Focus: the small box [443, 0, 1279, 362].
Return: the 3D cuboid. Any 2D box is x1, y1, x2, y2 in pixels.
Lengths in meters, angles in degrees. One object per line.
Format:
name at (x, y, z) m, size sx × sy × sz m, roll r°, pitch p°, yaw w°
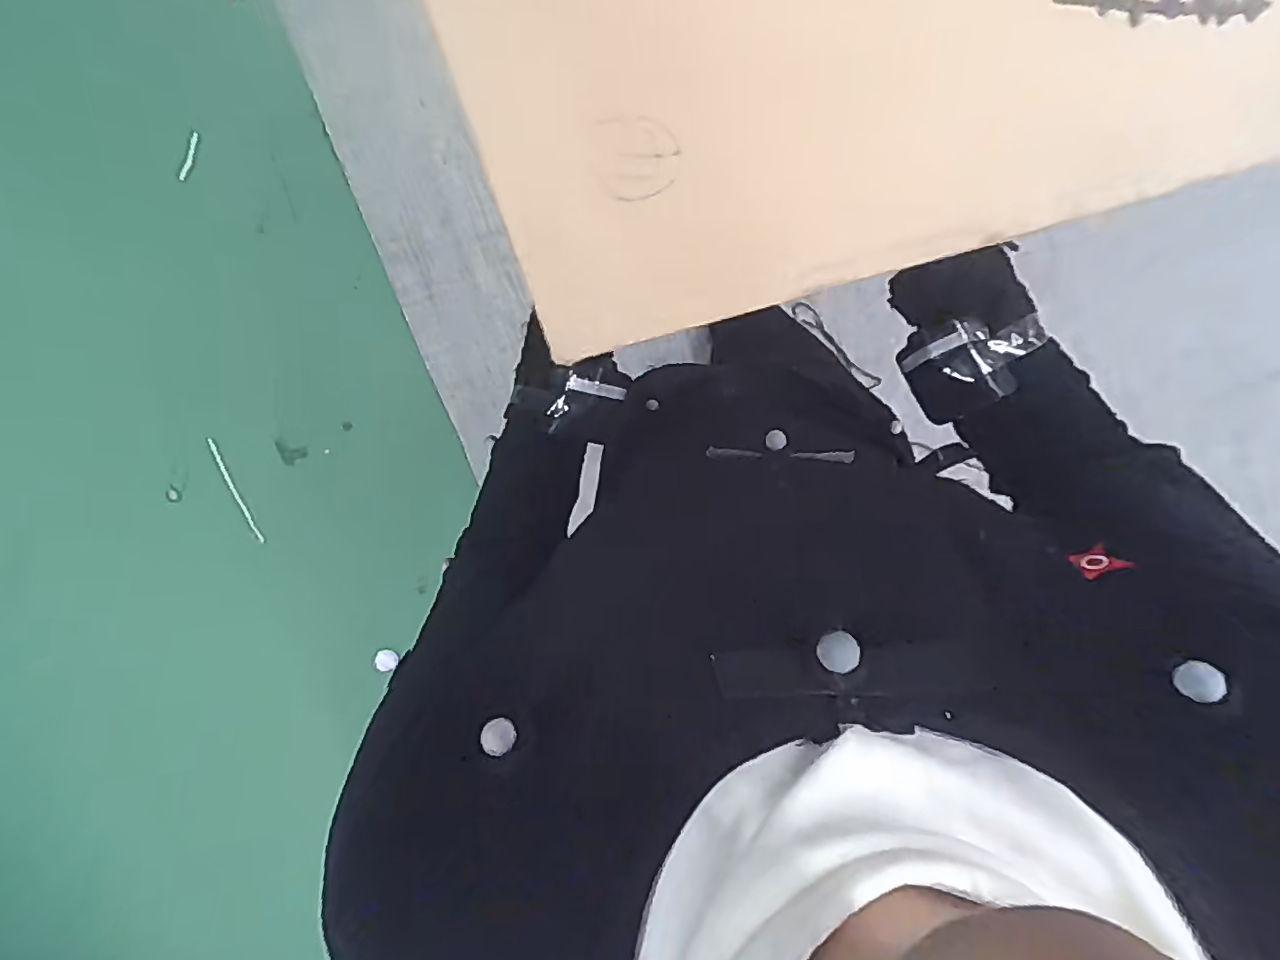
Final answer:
small box at (0.042, -0.158, 0.158) m, size 0.179 × 0.176 × 0.168 m, roll -17°, pitch 117°, yaw 9°
